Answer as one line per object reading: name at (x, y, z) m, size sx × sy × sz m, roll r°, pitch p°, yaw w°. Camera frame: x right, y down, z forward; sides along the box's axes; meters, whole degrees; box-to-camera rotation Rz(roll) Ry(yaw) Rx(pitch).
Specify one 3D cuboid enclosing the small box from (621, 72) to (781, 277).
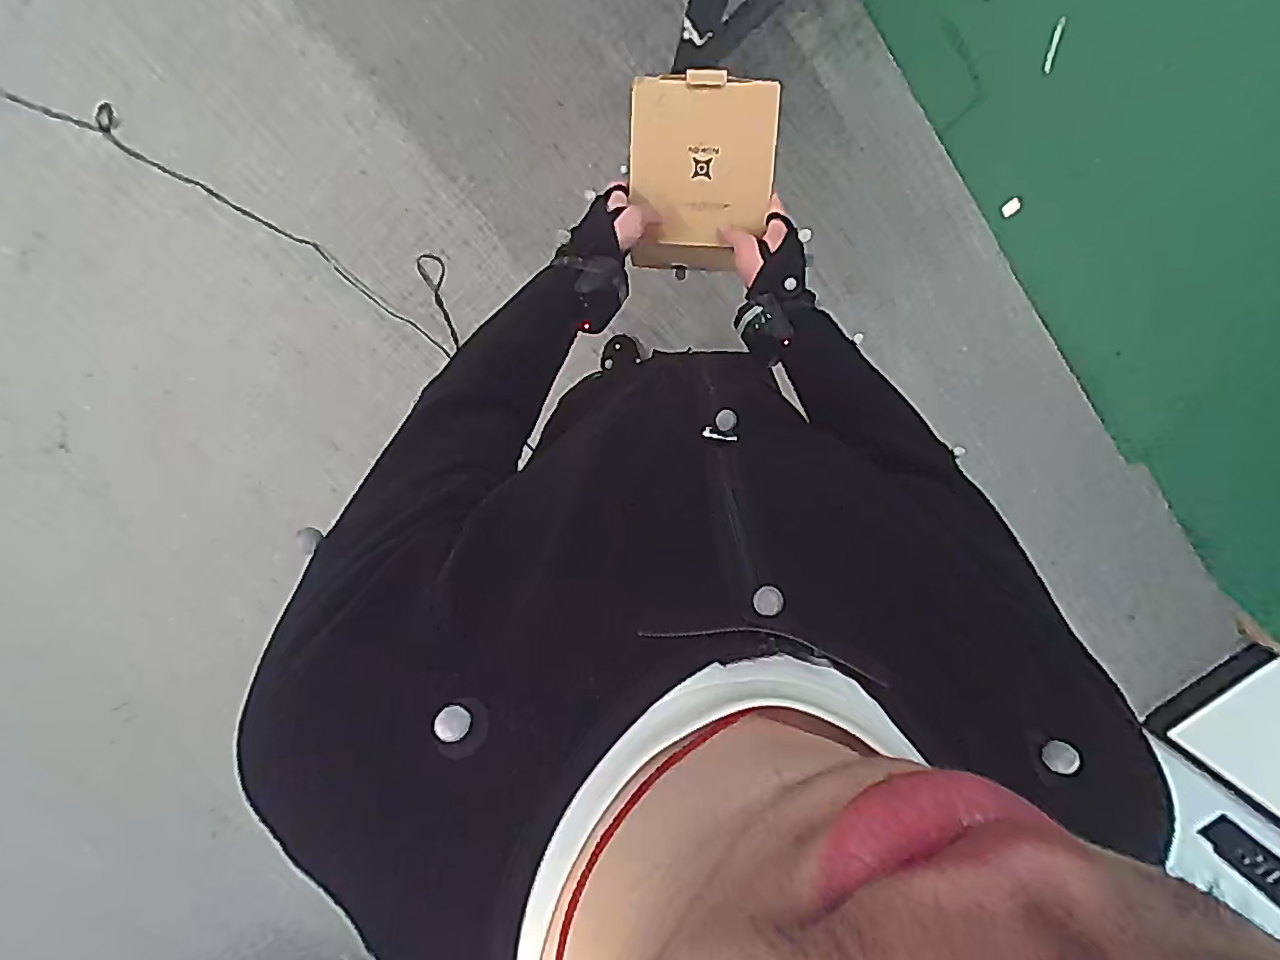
small box at (0.068, -0.366, 0.678) m, size 0.168 × 0.176 × 0.179 m, roll 4°, pitch 102°, yaw 2°
